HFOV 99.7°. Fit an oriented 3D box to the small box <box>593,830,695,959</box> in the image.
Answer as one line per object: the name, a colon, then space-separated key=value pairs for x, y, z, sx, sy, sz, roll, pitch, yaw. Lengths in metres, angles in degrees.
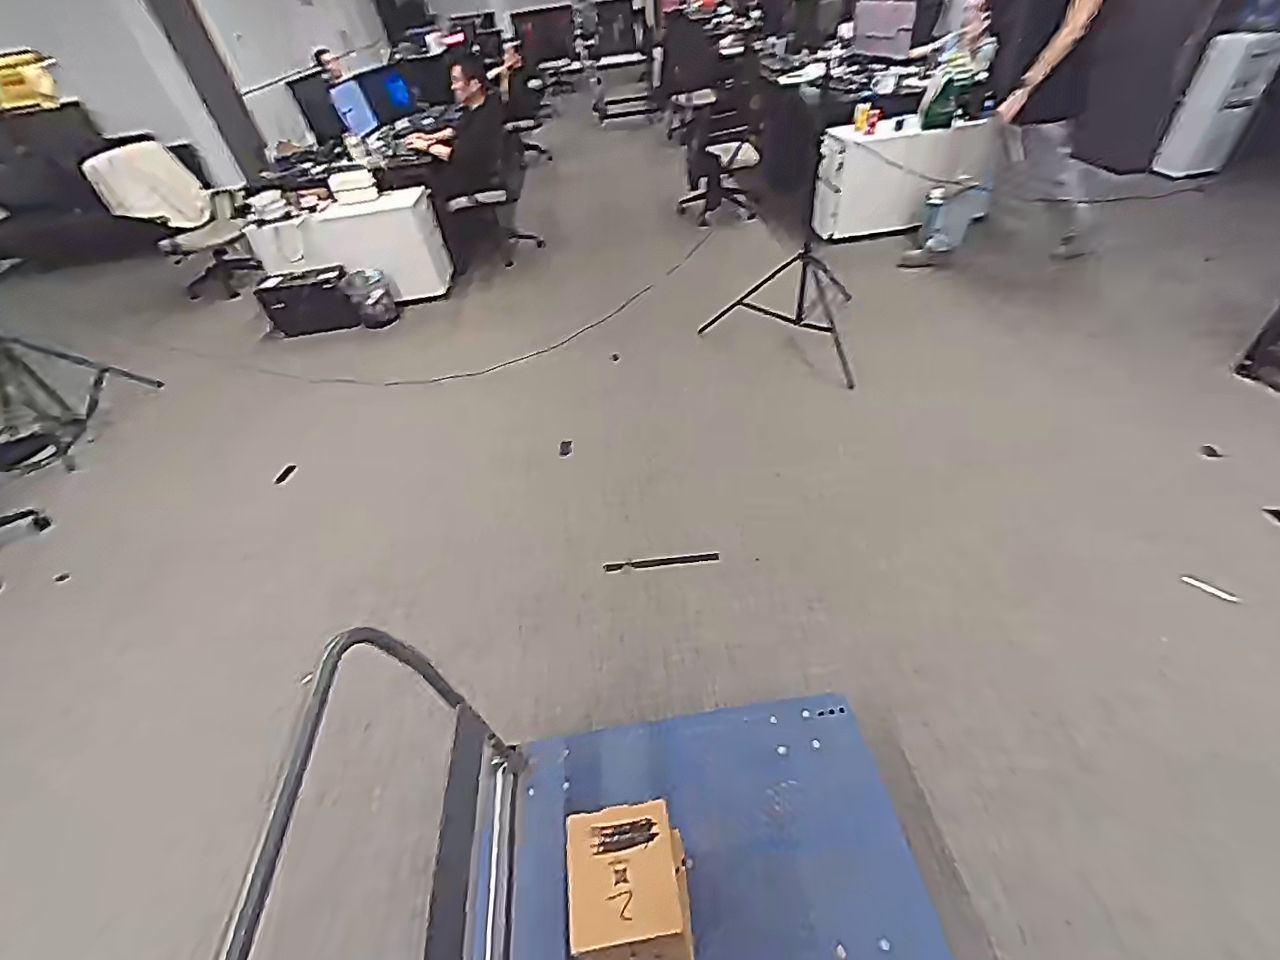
small box: x=0.009 y=0.771 z=0.991 sx=0.168 sy=0.176 sz=0.179 roll=-7 pitch=44 yaw=2
